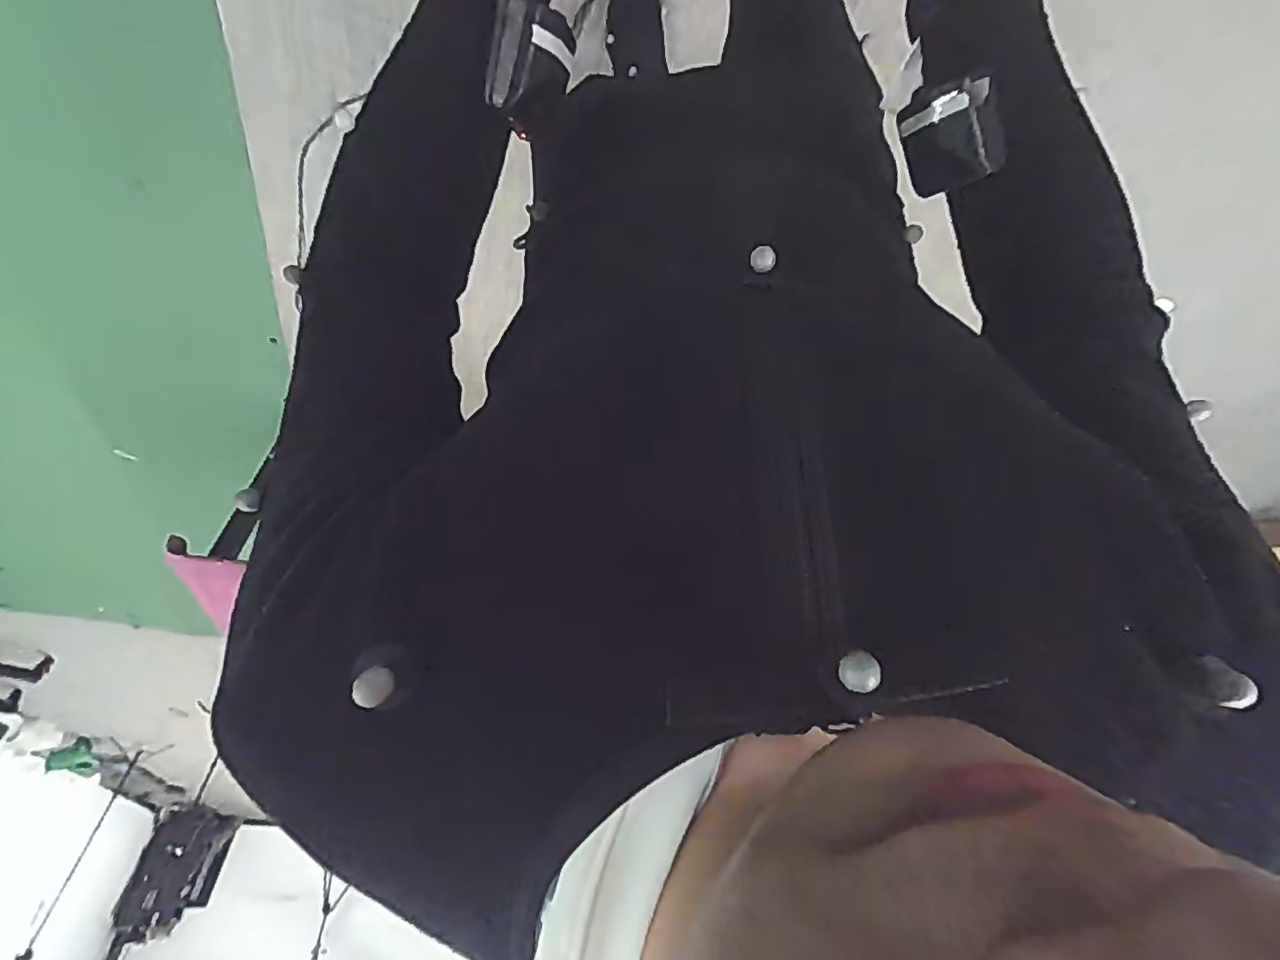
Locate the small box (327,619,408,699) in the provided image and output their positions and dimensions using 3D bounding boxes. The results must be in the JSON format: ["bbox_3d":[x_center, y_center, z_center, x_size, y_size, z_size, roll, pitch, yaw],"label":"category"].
[{"bbox_3d":[-0.809,0.534,1.615,0.179,0.176,0.168,17,136,-18],"label":"small box"}]
